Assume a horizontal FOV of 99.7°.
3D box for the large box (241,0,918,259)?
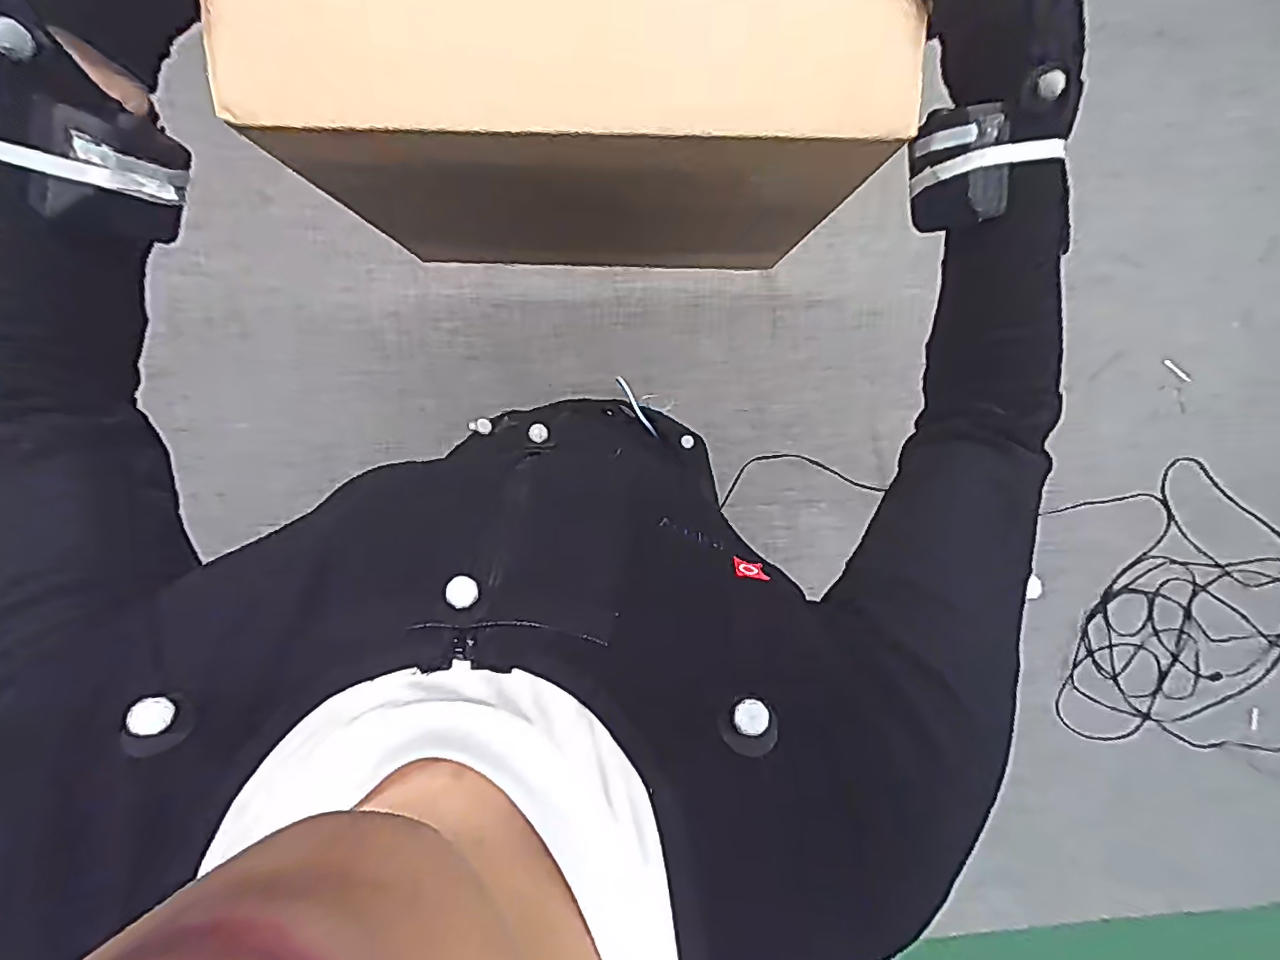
[{"bbox_3d":[-0.037,-0.386,0.452,0.408,0.320,0.320,0,99,-2],"label":"large box"}]
